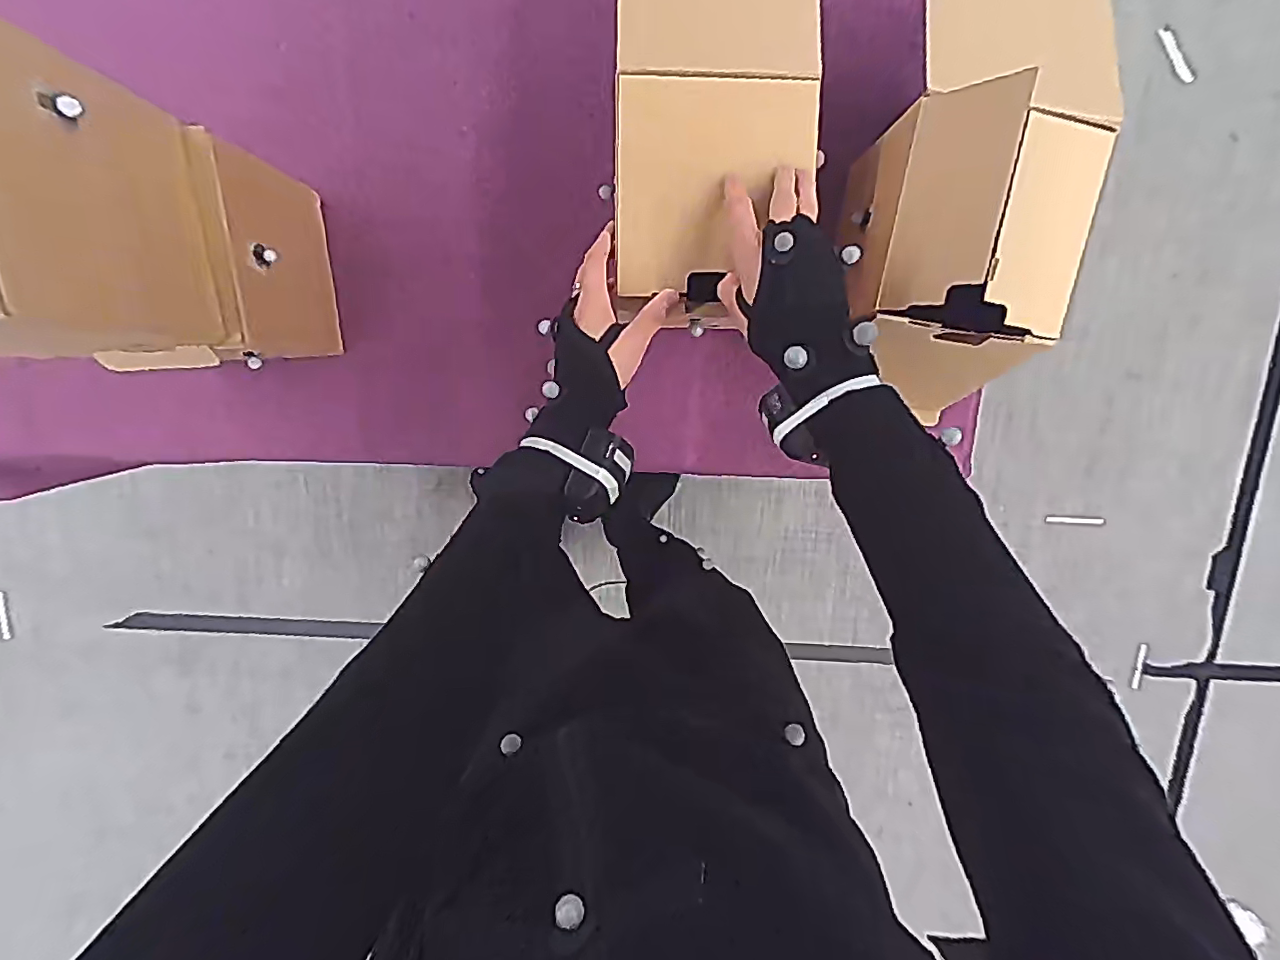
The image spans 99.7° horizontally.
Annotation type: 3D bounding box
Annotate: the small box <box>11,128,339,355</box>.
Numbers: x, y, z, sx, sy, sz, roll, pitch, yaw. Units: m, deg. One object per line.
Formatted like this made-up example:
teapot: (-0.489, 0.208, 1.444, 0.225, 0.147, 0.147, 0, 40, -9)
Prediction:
small box: (-0.423, -0.213, 0.531, 0.168, 0.176, 0.179, -2, 101, -1)

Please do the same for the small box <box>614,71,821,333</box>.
small box: (0.061, -0.246, 0.520, 0.168, 0.176, 0.179, 1, 97, 0)
